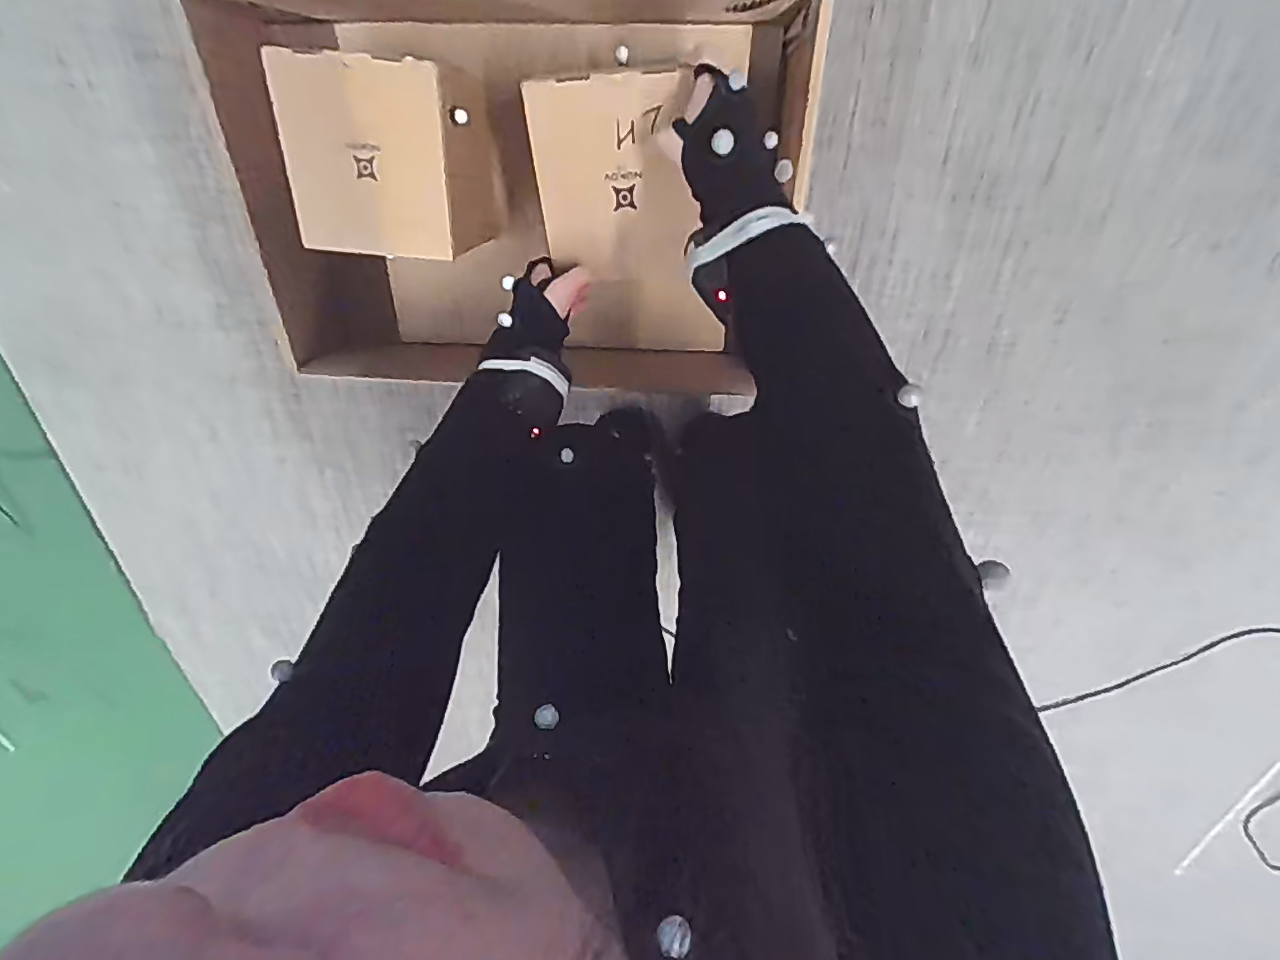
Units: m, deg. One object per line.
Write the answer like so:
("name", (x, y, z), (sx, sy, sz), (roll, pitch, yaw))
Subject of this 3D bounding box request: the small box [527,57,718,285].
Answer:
("small box", (-0.012, -0.326, 0.571), (0.168, 0.176, 0.179), (-3, 132, 1))

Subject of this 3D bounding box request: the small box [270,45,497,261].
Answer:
("small box", (-0.266, -0.362, 0.613), (0.168, 0.176, 0.179), (6, 120, 0))
